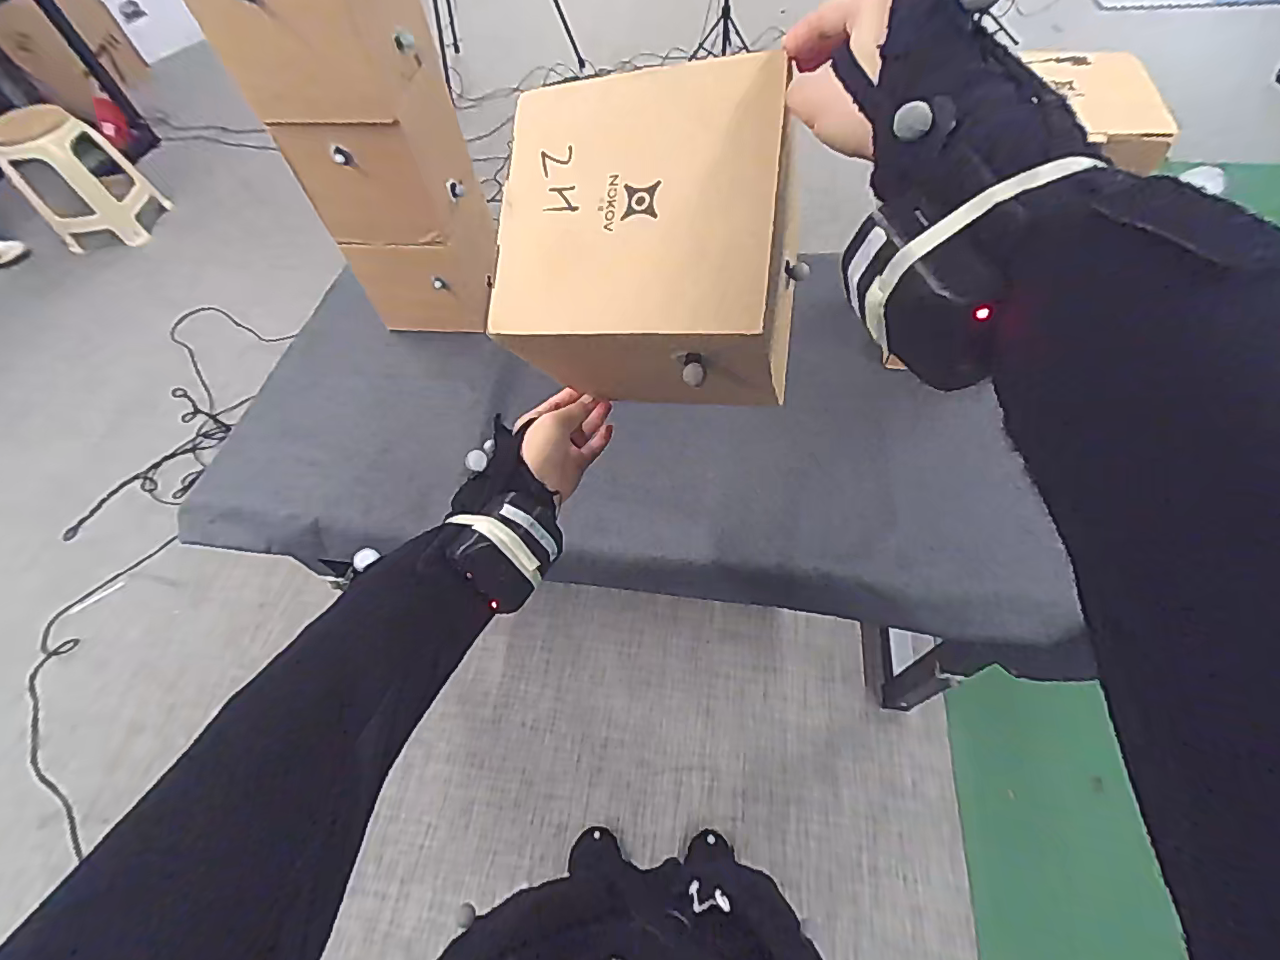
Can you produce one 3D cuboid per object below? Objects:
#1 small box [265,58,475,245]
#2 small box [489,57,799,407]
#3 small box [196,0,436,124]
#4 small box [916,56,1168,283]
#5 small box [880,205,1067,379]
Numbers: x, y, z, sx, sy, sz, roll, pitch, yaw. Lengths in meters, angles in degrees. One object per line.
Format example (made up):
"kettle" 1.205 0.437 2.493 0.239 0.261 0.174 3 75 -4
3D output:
"small box" -0.352 -0.446 0.744 0.179 0.176 0.168 3 60 4
"small box" 0.019 -0.154 0.396 0.179 0.176 0.168 5 85 19
"small box" -0.359 -0.523 0.599 0.179 0.176 0.168 5 60 6
"small box" 0.435 -0.351 0.624 0.168 0.176 0.179 8 61 9
"small box" 0.450 -0.270 0.765 0.168 0.176 0.179 8 60 9
